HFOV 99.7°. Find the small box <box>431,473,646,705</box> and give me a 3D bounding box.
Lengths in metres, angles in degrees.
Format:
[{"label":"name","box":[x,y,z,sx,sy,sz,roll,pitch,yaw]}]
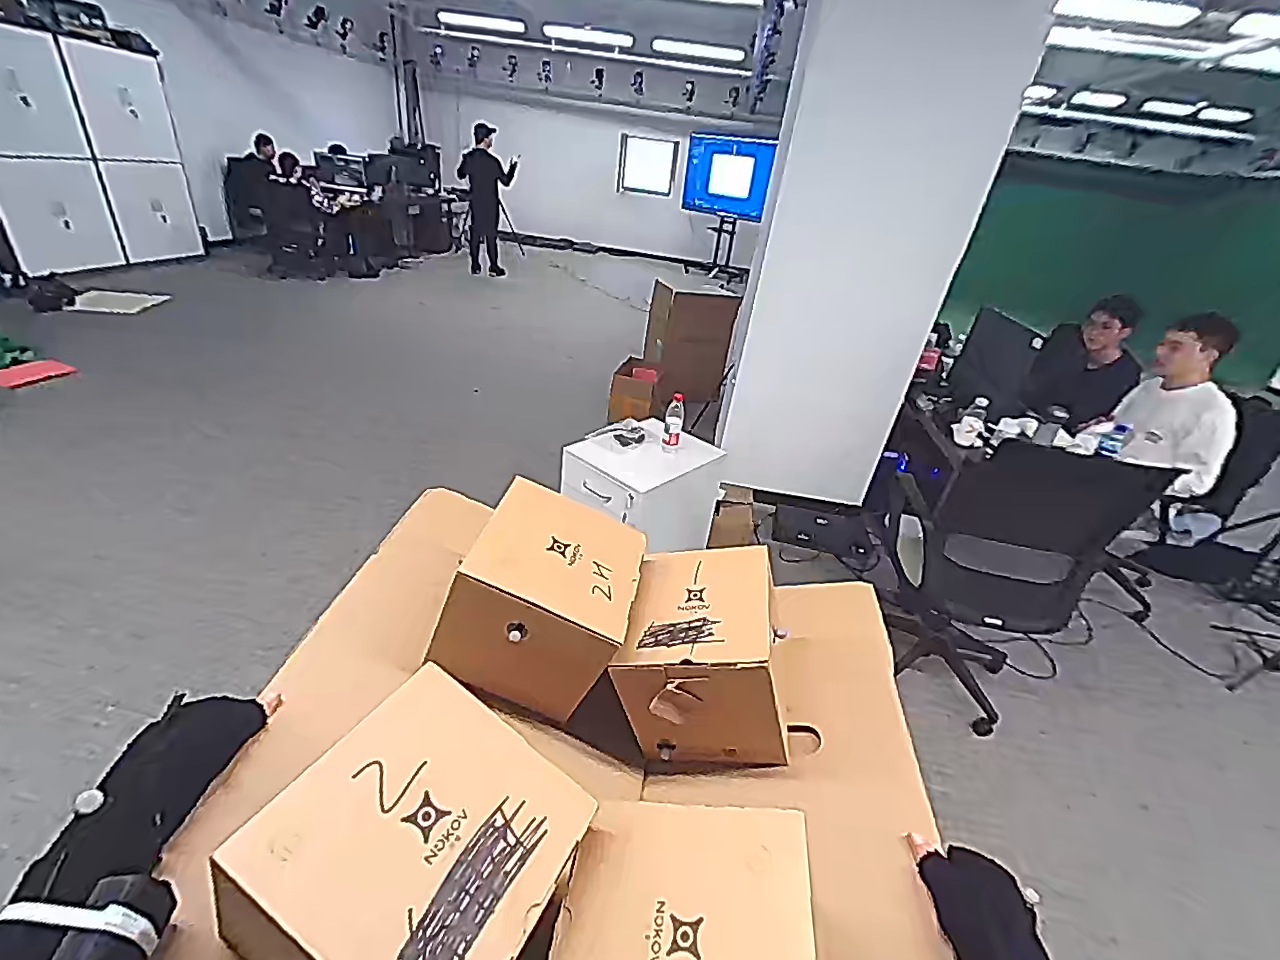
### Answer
[{"label":"small box","box":[-0.117,0.129,0.629,0.179,0.176,0.168,27,36,-7]}]
